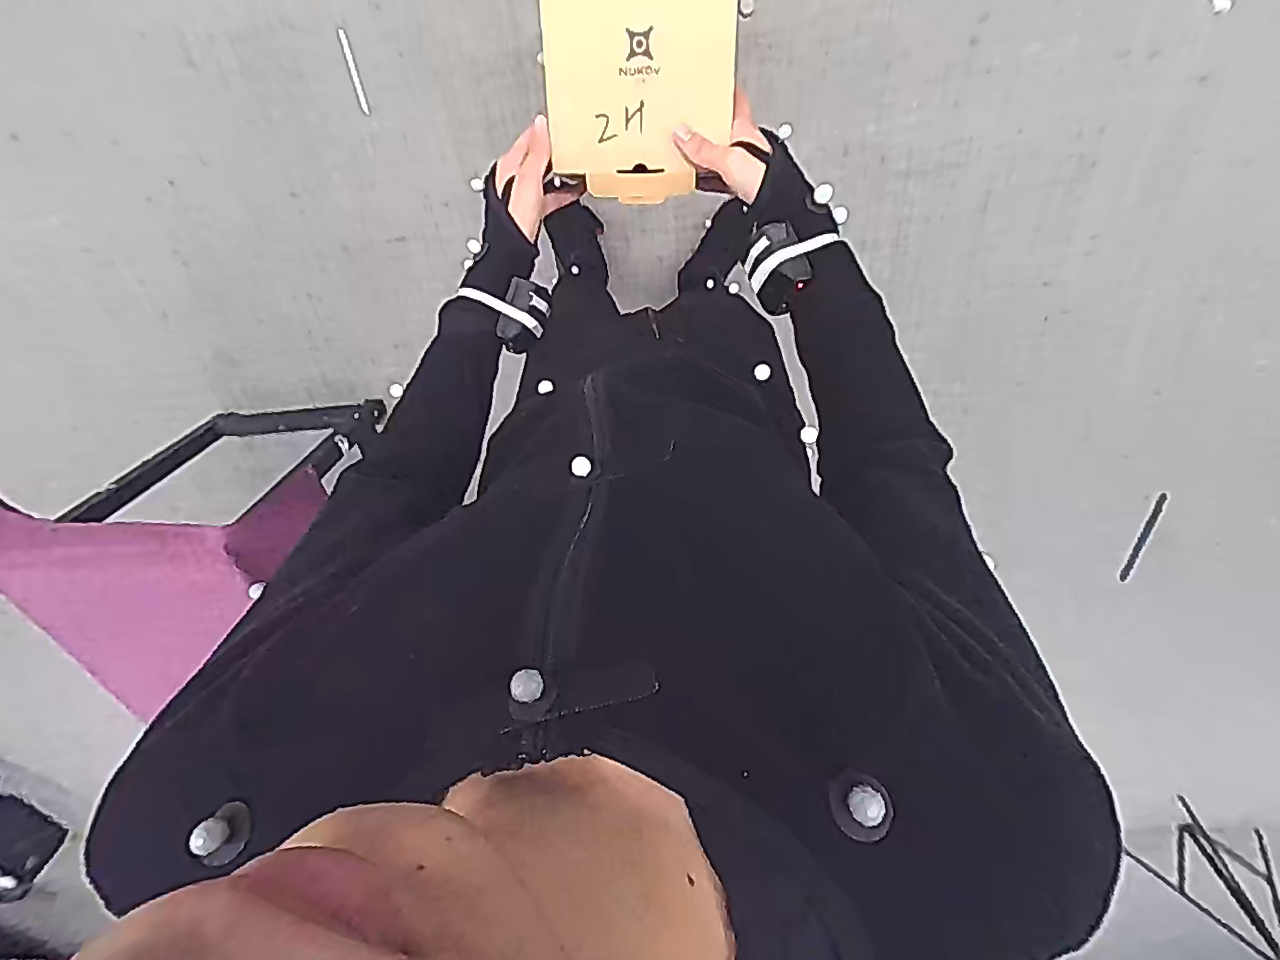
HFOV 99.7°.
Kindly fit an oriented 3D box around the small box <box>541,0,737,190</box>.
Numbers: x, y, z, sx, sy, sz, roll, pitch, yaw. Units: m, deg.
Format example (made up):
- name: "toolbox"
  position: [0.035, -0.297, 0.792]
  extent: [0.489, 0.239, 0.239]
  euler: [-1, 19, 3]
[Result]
- name: "small box"
  position: [0.004, -0.394, 0.537]
  extent: [0.168, 0.176, 0.179]
  euler: [1, 115, 5]
